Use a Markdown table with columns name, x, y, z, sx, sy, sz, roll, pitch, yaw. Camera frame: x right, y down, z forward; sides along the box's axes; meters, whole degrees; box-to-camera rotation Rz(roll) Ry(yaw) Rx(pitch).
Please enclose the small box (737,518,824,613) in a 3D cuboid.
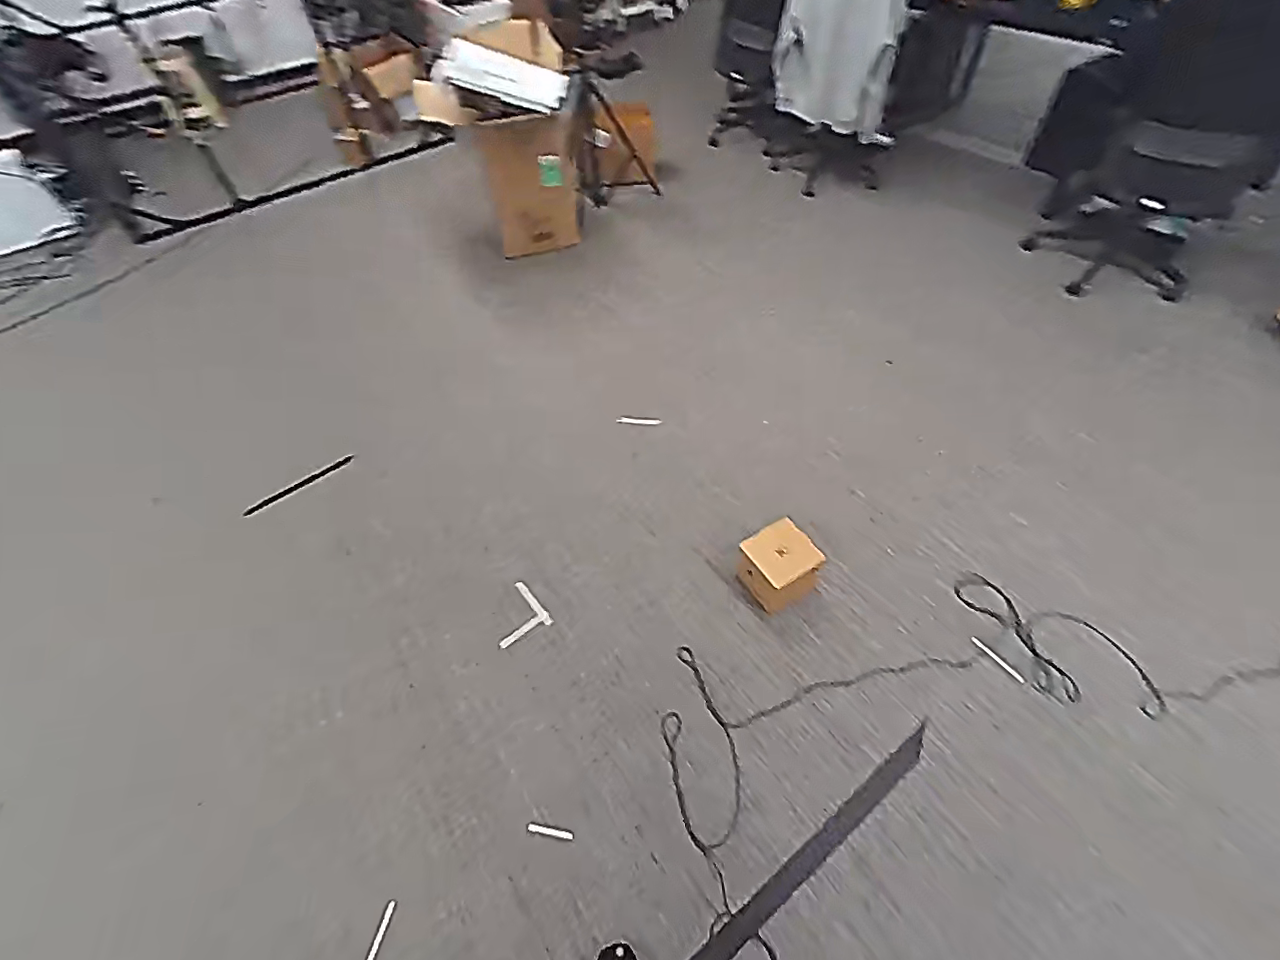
| name | x | y | z | sx | sy | sz | roll | pitch | yaw |
| --- | --- | --- | --- | --- | --- | --- | --- | --- | --- |
| small box | 0.393 | 0.248 | 1.544 | 0.179 | 0.176 | 0.168 | -27 | 54 | -16 |
